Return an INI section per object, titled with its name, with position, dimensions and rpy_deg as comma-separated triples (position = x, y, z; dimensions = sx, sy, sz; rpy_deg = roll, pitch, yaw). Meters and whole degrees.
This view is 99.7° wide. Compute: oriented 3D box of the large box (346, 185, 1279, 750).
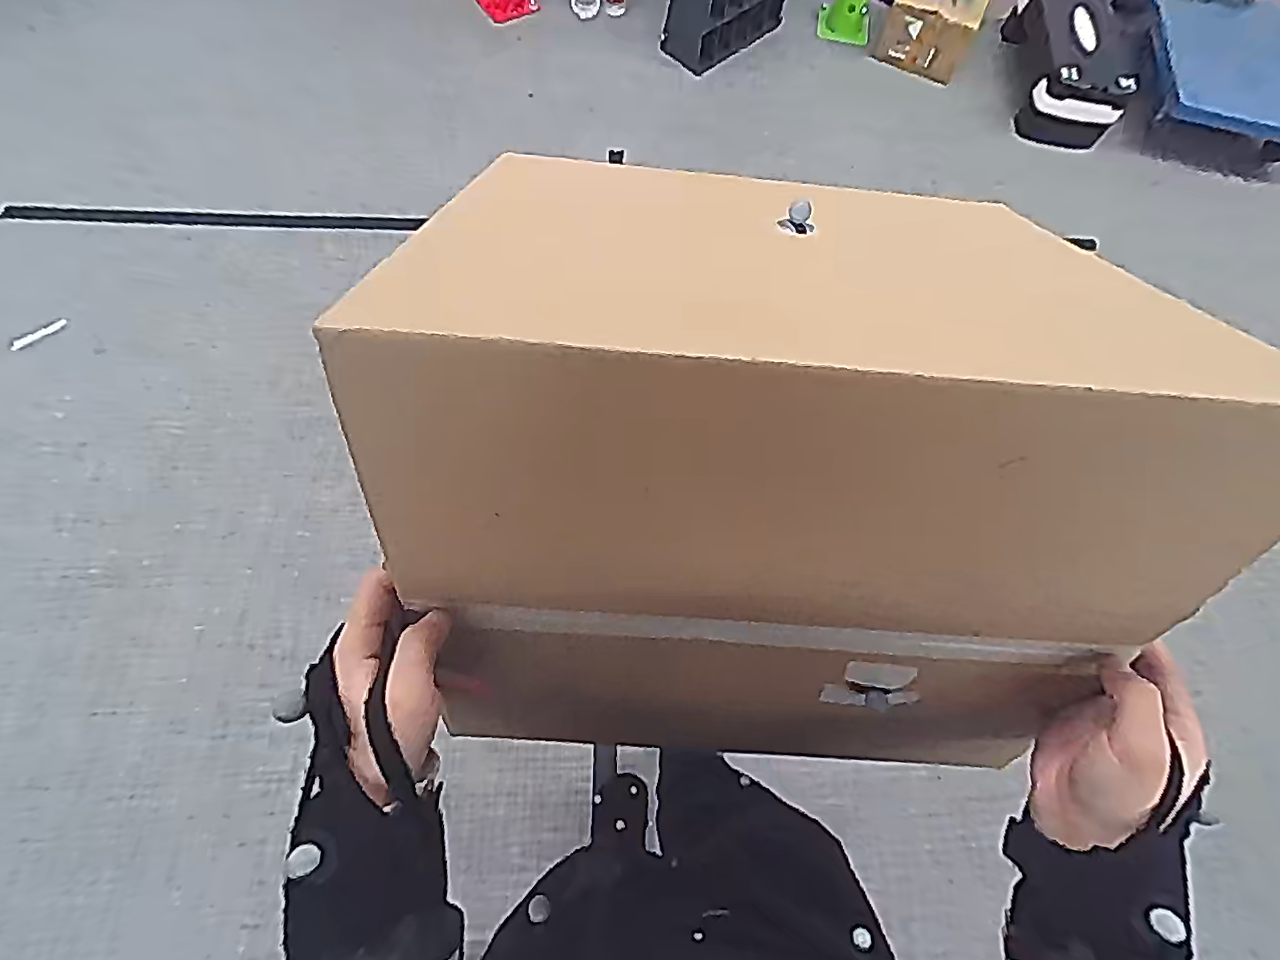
[large box]
position = 0.074, -0.018, 0.419
dimensions = 0.408, 0.320, 0.320
rpy_deg = 3, 41, -2
